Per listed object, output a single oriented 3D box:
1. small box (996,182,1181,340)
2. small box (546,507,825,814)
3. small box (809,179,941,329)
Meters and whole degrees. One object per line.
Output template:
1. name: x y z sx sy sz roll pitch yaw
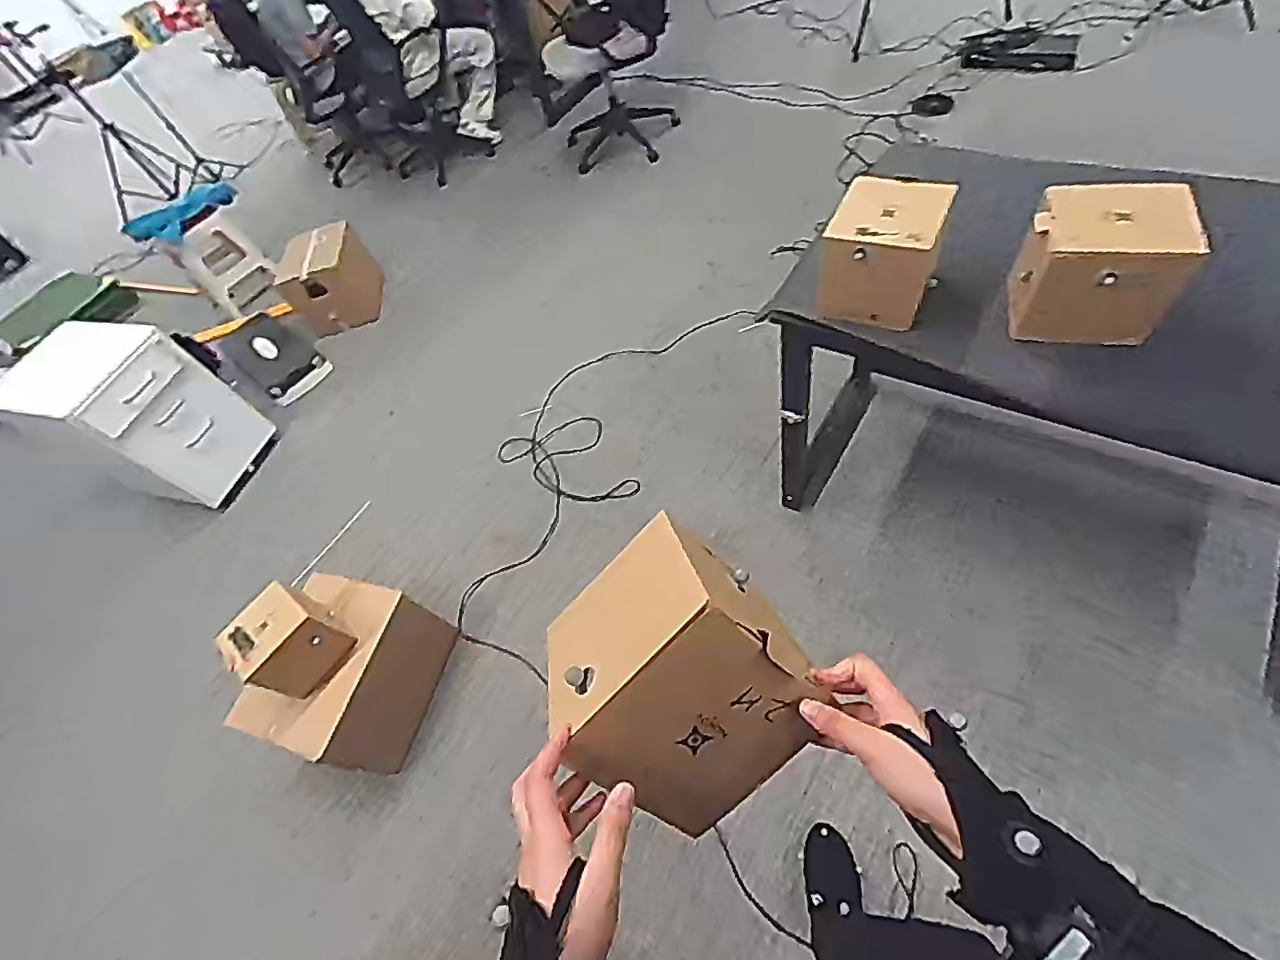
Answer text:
1. small box: 0.683 -0.339 0.852 0.179 0.176 0.168 9 61 19
2. small box: 0.030 0.160 0.512 0.179 0.168 0.176 -46 22 9
3. small box: 0.407 -0.401 0.963 0.168 0.176 0.179 19 64 25
